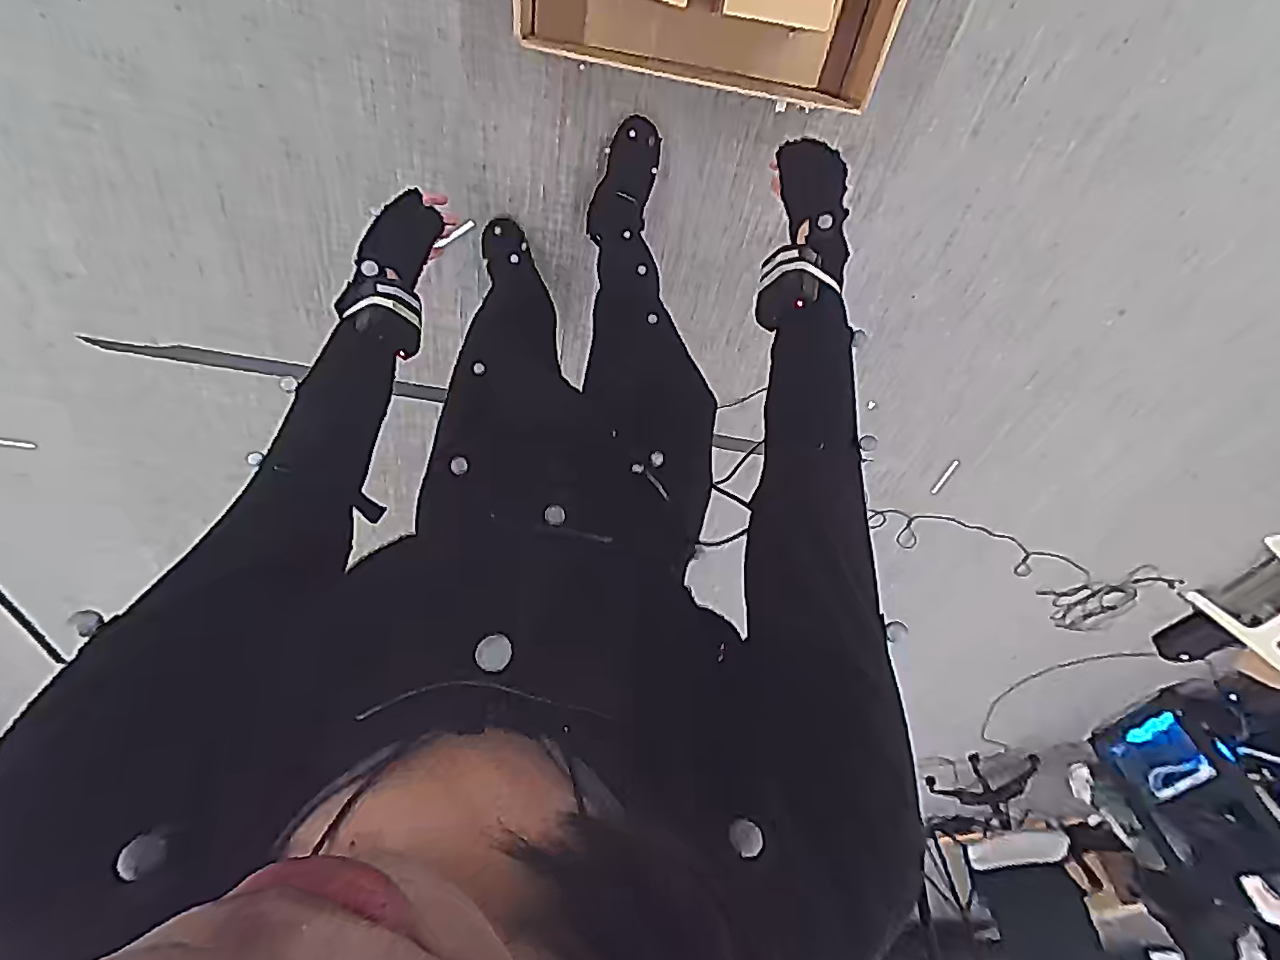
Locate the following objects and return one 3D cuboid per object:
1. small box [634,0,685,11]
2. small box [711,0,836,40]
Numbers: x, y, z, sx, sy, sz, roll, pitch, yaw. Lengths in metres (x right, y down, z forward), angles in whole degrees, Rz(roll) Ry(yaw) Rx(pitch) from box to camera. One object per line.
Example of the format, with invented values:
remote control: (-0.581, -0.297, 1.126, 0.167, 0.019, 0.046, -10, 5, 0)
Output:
small box: (0.001, -0.856, 0.837, 0.179, 0.176, 0.168, 10, 130, -10)
small box: (0.222, -0.831, 0.867, 0.179, 0.176, 0.168, 6, 130, -5)
